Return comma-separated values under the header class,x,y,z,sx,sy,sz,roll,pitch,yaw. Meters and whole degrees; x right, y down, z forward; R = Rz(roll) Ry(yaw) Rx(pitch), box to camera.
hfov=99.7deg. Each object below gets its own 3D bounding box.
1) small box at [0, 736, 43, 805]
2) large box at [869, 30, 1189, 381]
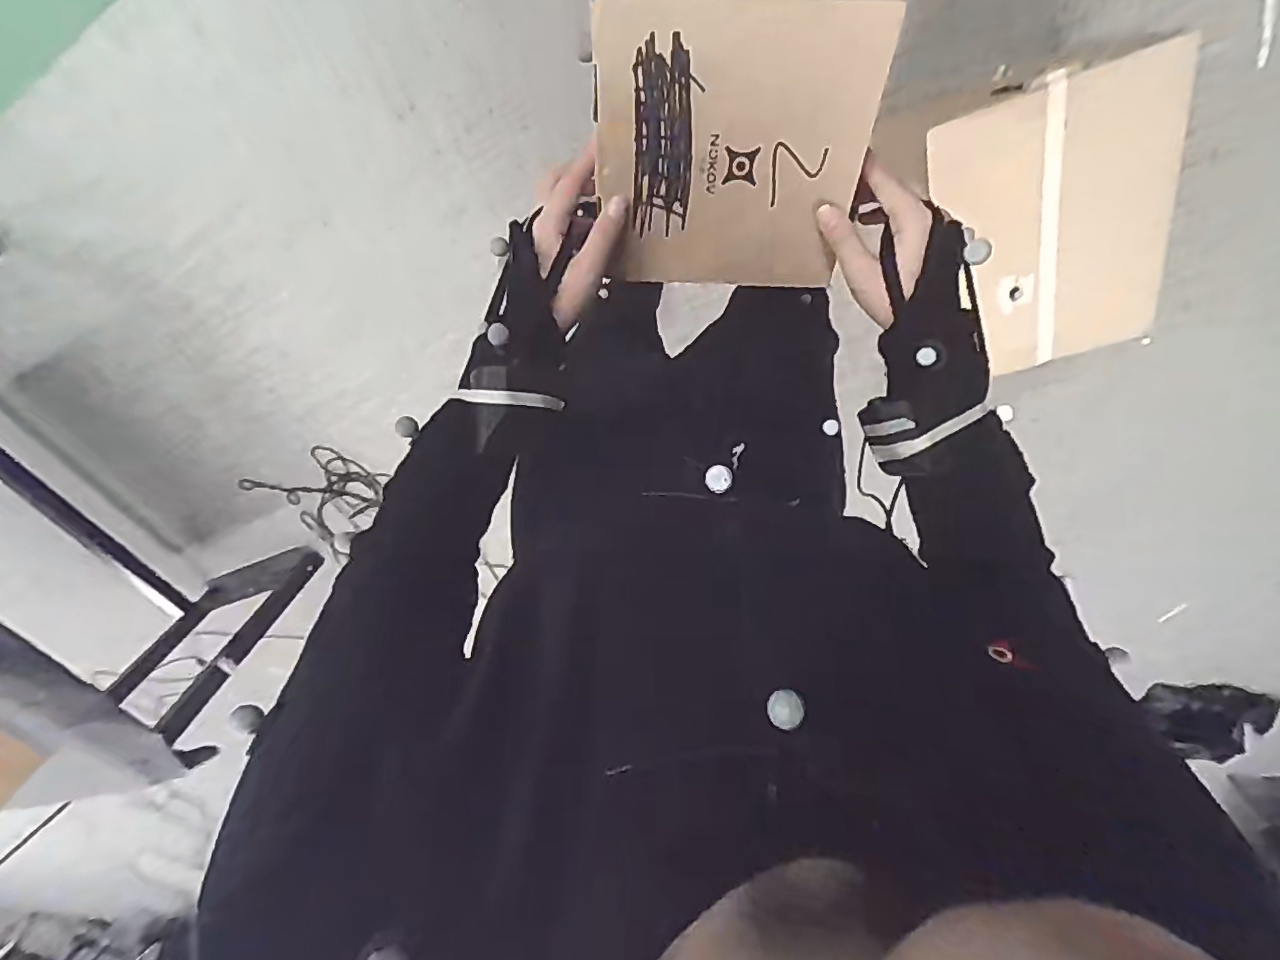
class,x,y,z,sx,sy,sz,roll,pitch,yaw
small box,-1.427,0.628,1.117,0.168,0.176,0.179,-19,120,20
large box,0.608,-0.447,0.918,0.320,0.320,0.408,-13,123,16
